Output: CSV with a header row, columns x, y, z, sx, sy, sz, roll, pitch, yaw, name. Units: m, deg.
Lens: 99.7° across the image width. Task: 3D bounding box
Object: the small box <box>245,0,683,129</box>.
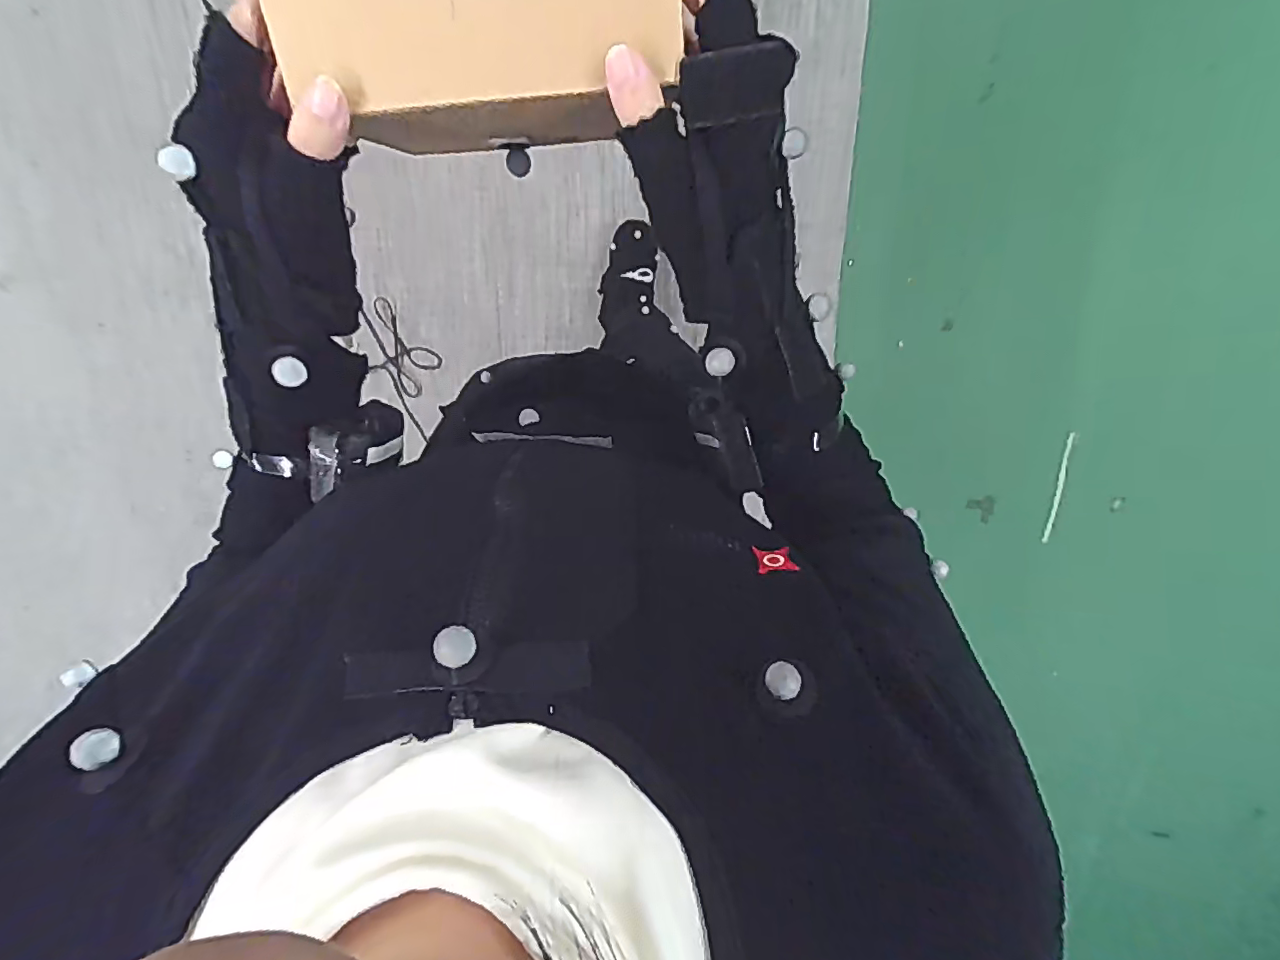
x,y,z,sx,sy,sz,roll,pitch,yaw,name
-0.074,-0.280,0.245,0.168,0.176,0.179,-5,116,0,small box
